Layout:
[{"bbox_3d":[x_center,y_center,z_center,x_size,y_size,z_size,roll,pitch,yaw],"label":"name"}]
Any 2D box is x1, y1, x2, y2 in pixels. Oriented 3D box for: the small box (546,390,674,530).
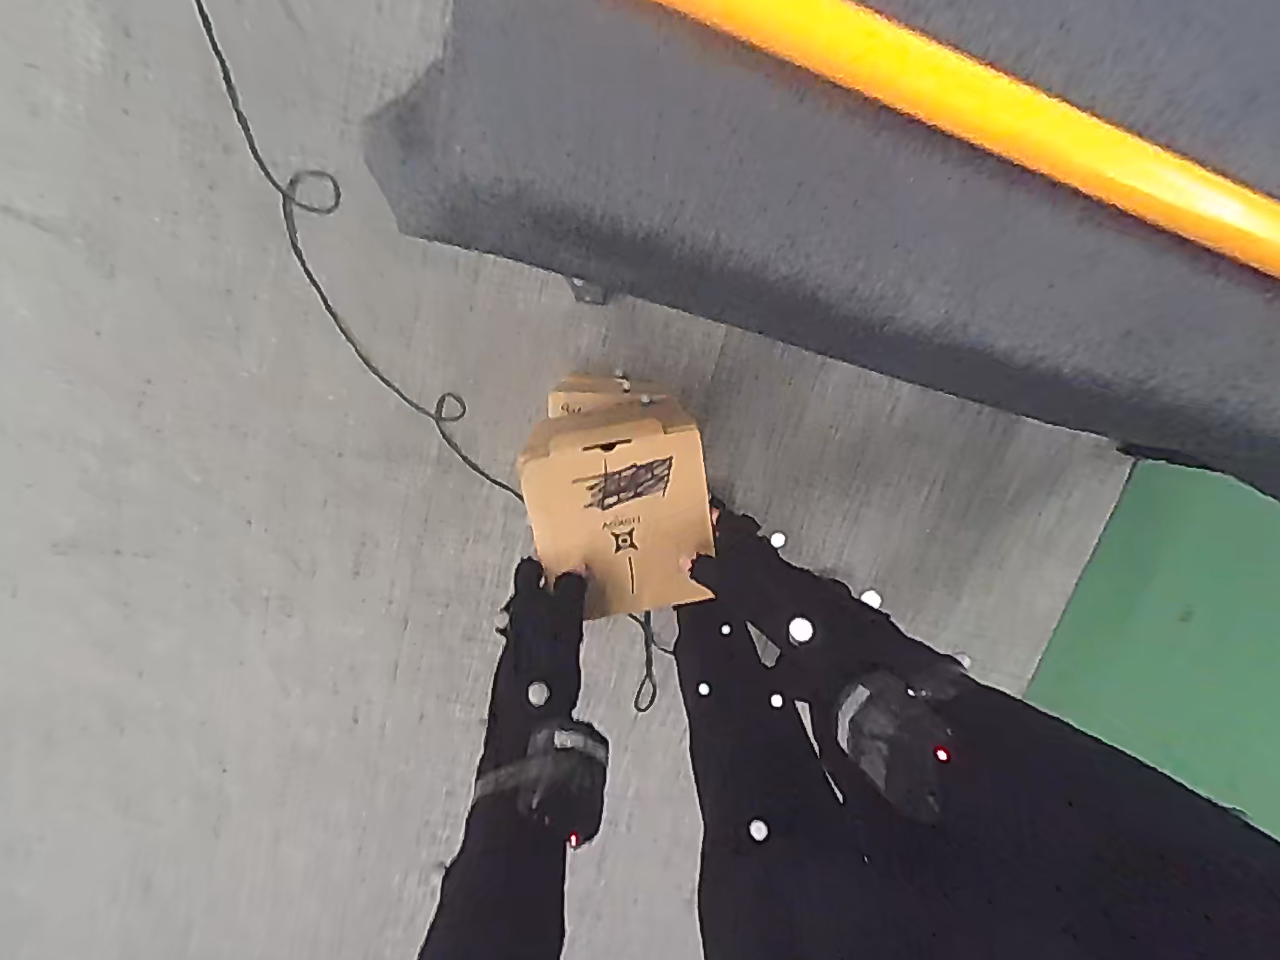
[{"bbox_3d":[-0.039,-0.037,0.783,0.168,0.176,0.179,-1,103,-1],"label":"small box"}]
